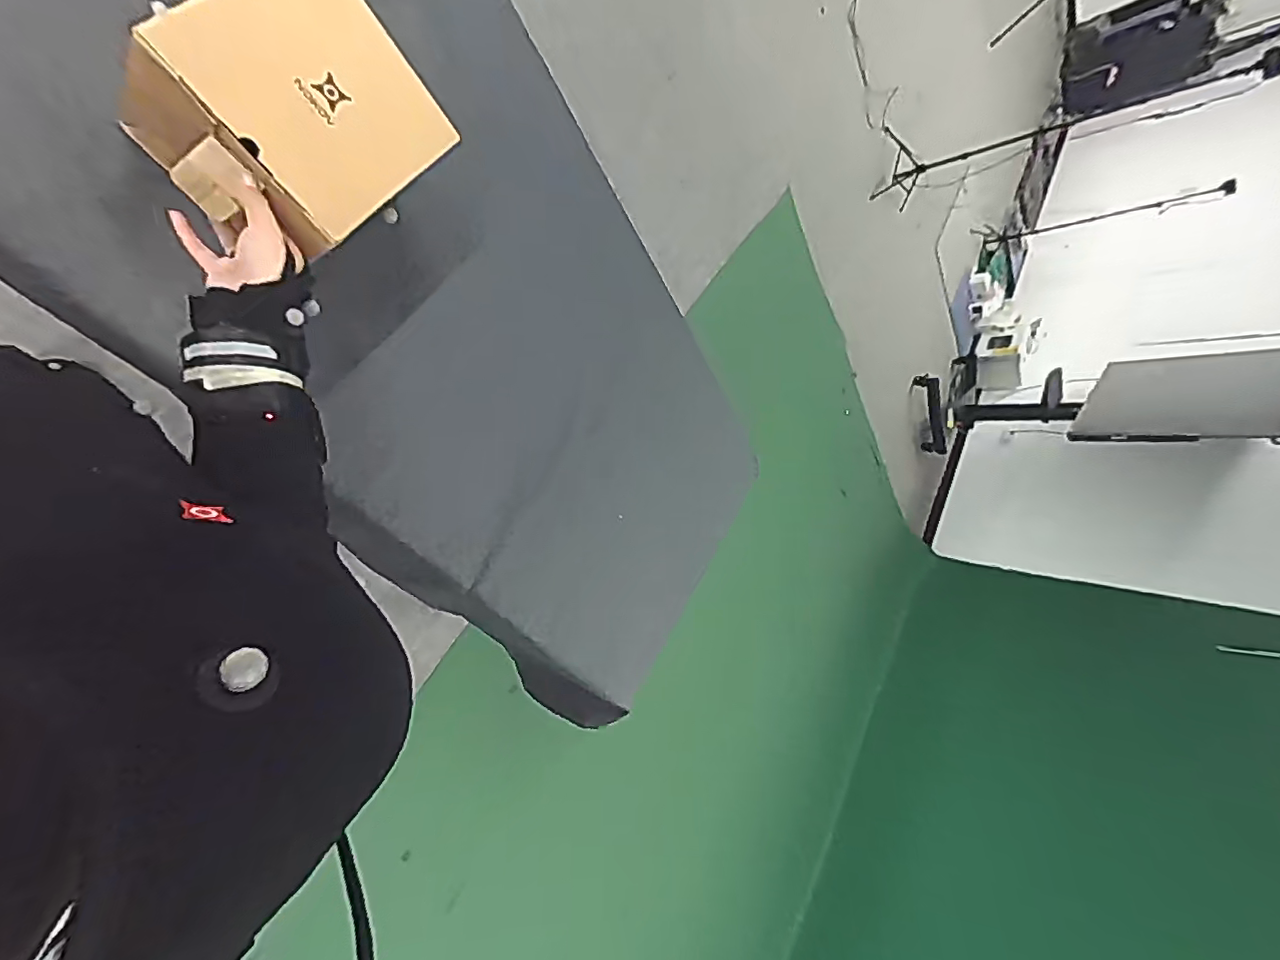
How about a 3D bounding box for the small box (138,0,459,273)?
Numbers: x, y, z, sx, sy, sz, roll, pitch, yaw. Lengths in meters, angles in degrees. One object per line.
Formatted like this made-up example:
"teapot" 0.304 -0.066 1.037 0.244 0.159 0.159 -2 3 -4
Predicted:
"small box" -0.315 -0.323 0.503 0.168 0.176 0.179 51 60 -37
